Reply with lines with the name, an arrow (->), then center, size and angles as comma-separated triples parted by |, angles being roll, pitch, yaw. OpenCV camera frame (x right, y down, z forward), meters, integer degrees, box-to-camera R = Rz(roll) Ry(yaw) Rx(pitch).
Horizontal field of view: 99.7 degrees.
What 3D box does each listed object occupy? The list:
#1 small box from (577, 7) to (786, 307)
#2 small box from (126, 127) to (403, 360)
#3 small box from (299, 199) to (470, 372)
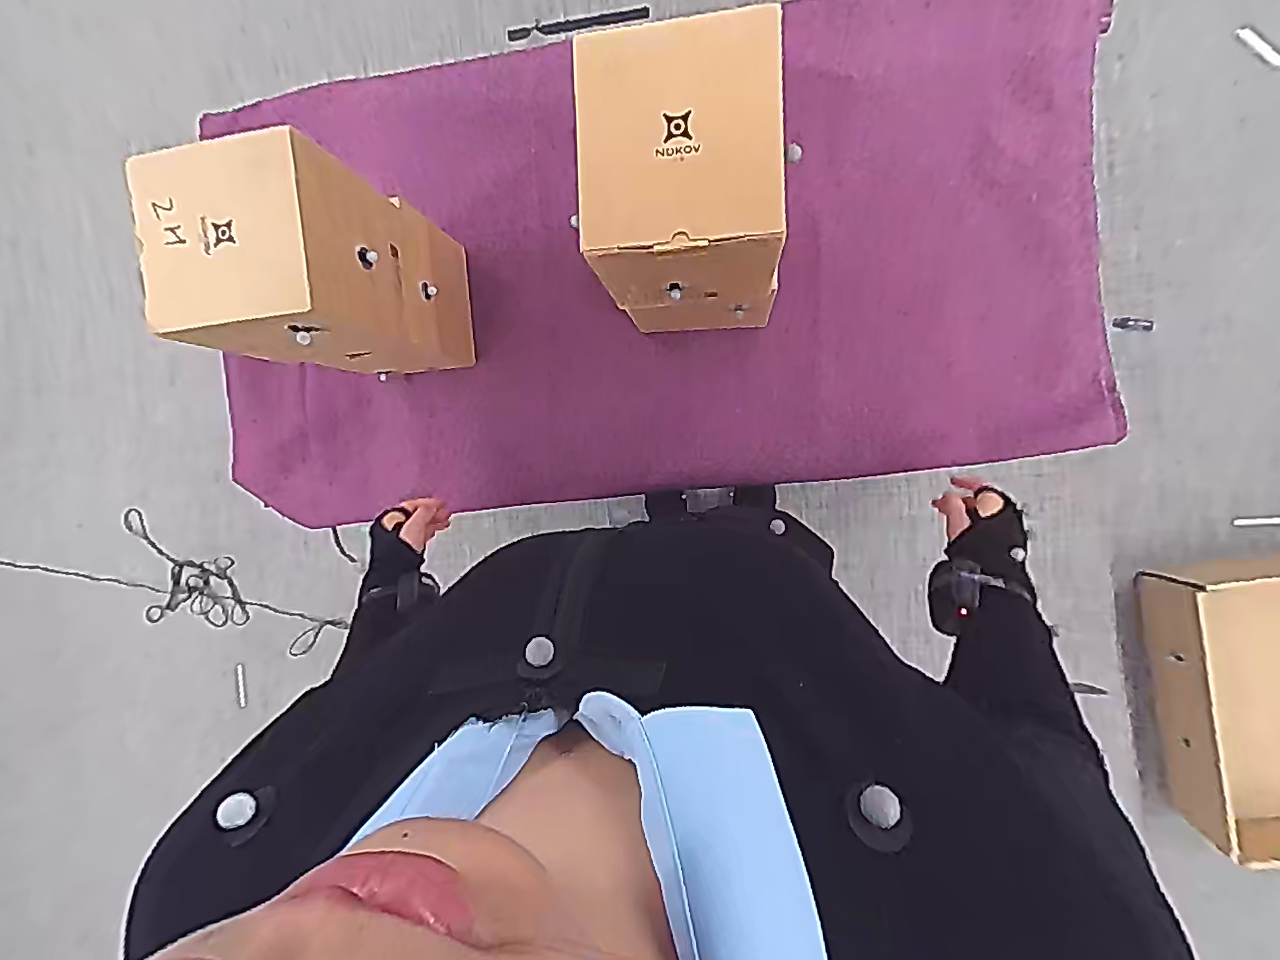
small box -> 0.042, -0.277, 0.506 | 0.168, 0.176, 0.179 | -2, 93, 9
small box -> -0.371, -0.229, 0.570 | 0.179, 0.176, 0.168 | -5, 92, 9
small box -> -0.344, -0.246, 0.732 | 0.168, 0.176, 0.179 | -4, 92, 9
